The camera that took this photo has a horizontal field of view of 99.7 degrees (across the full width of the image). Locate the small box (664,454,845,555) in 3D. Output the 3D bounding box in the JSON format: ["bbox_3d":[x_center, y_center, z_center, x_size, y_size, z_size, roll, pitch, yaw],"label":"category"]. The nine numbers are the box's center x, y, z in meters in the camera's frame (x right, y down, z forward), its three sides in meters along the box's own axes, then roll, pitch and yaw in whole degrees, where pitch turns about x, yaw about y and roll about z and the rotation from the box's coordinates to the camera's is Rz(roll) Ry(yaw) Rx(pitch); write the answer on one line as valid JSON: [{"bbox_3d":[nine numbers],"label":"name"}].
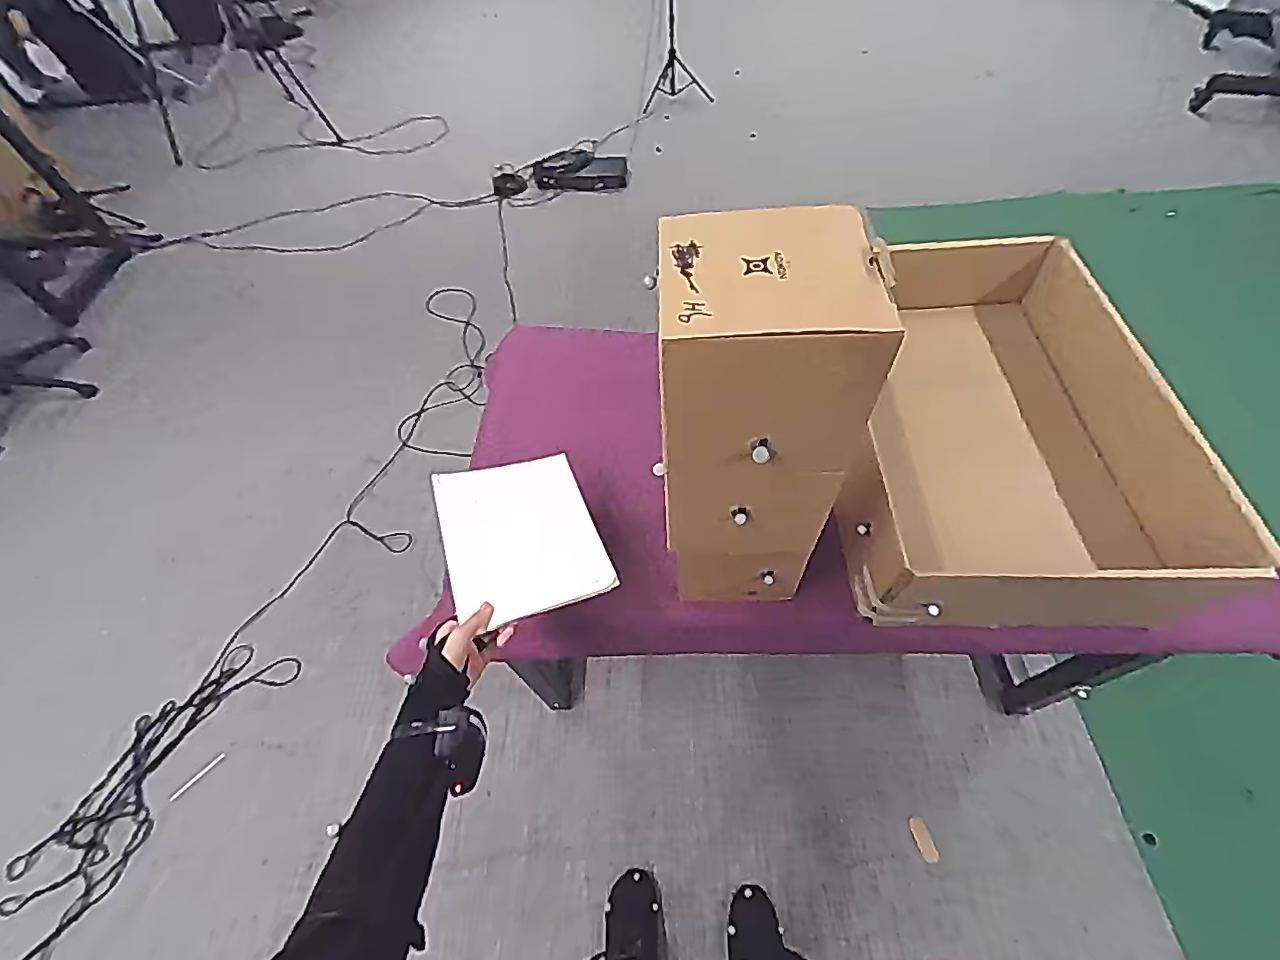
[{"bbox_3d":[0.120,-0.022,0.631,0.179,0.176,0.168,-1,54,6],"label":"small box"}]

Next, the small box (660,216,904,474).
[{"bbox_3d":[0.108,-0.117,0.497,0.179,0.176,0.168,0,54,3],"label":"small box"}]
